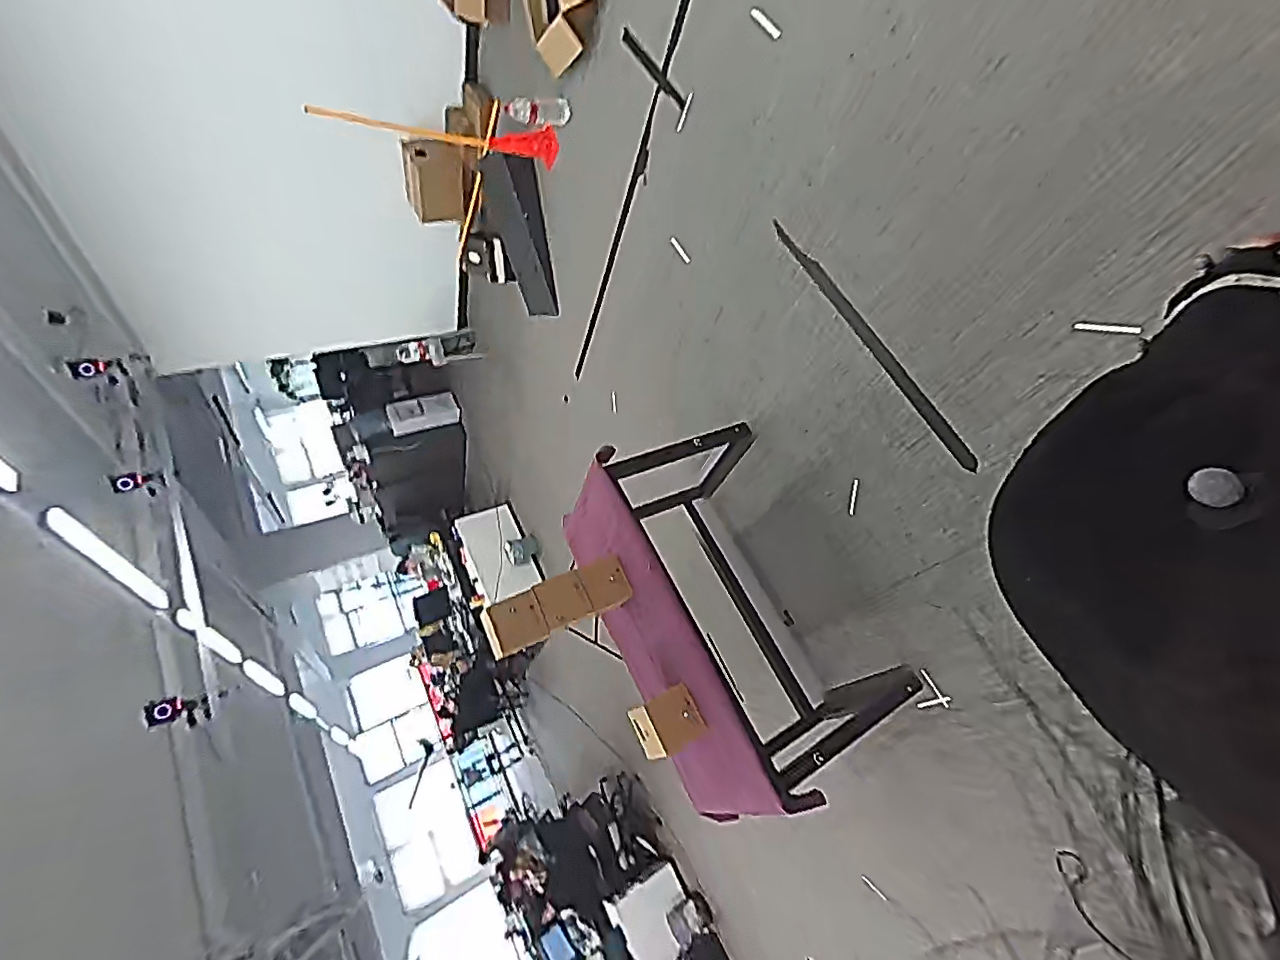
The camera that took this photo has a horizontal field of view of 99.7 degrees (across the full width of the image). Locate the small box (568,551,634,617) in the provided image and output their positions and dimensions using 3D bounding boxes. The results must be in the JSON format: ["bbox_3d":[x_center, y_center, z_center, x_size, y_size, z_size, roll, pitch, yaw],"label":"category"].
[{"bbox_3d":[-0.143,0.384,1.990,0.168,0.176,0.179,63,151,14],"label":"small box"}]

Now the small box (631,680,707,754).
[{"bbox_3d":[0.097,0.789,1.802,0.168,0.176,0.179,62,150,18],"label":"small box"}]

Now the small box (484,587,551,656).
[{"bbox_3d":[-0.414,0.477,1.832,0.168,0.176,0.179,65,153,13],"label":"small box"}]
